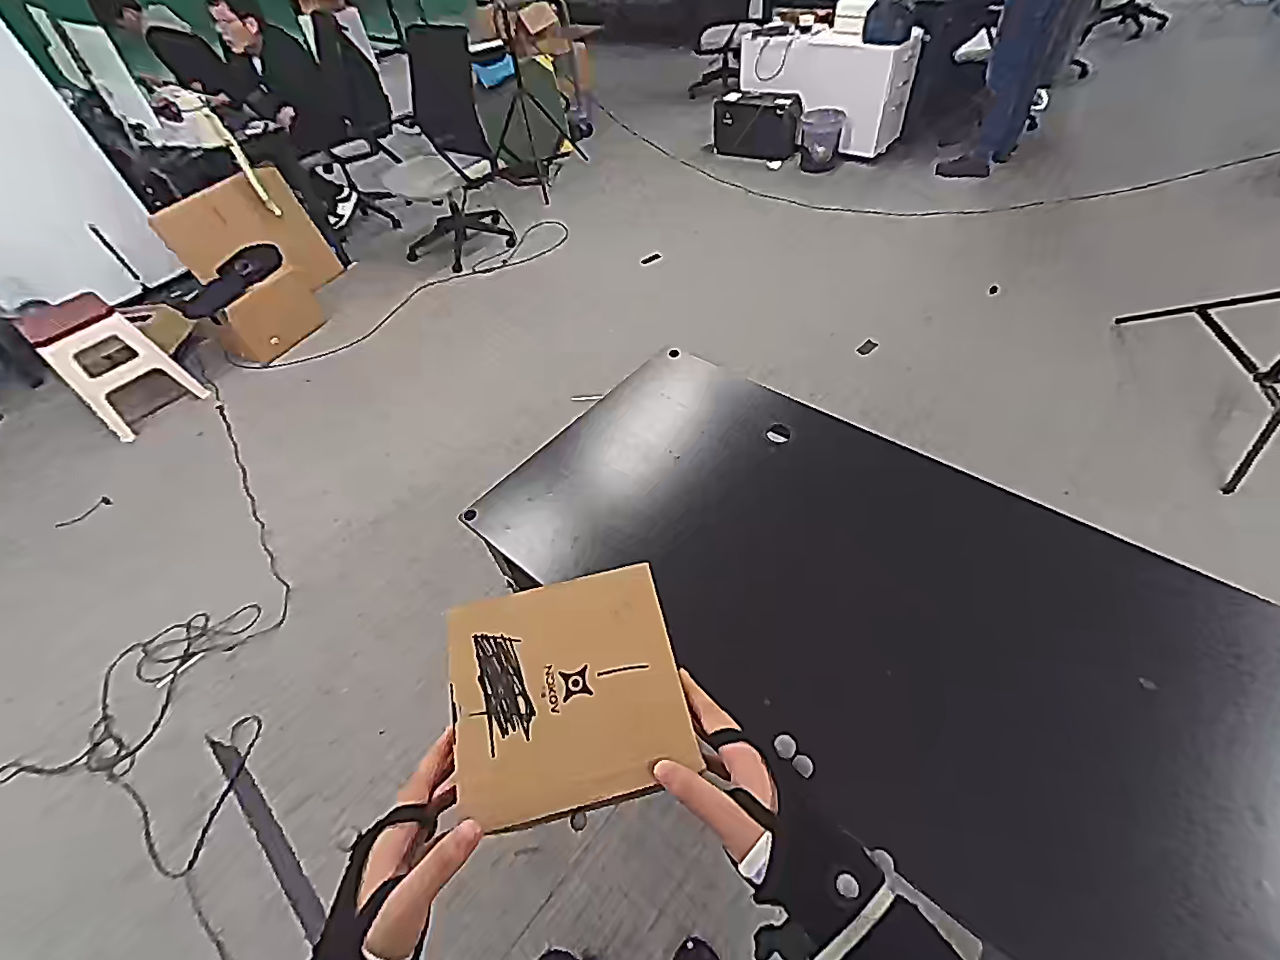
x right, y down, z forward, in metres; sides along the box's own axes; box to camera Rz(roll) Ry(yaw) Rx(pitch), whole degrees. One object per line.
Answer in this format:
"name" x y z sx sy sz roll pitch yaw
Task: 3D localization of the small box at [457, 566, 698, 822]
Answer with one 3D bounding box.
"small box" -0.053 0.202 0.497 0.179 0.176 0.168 -13 59 -5
